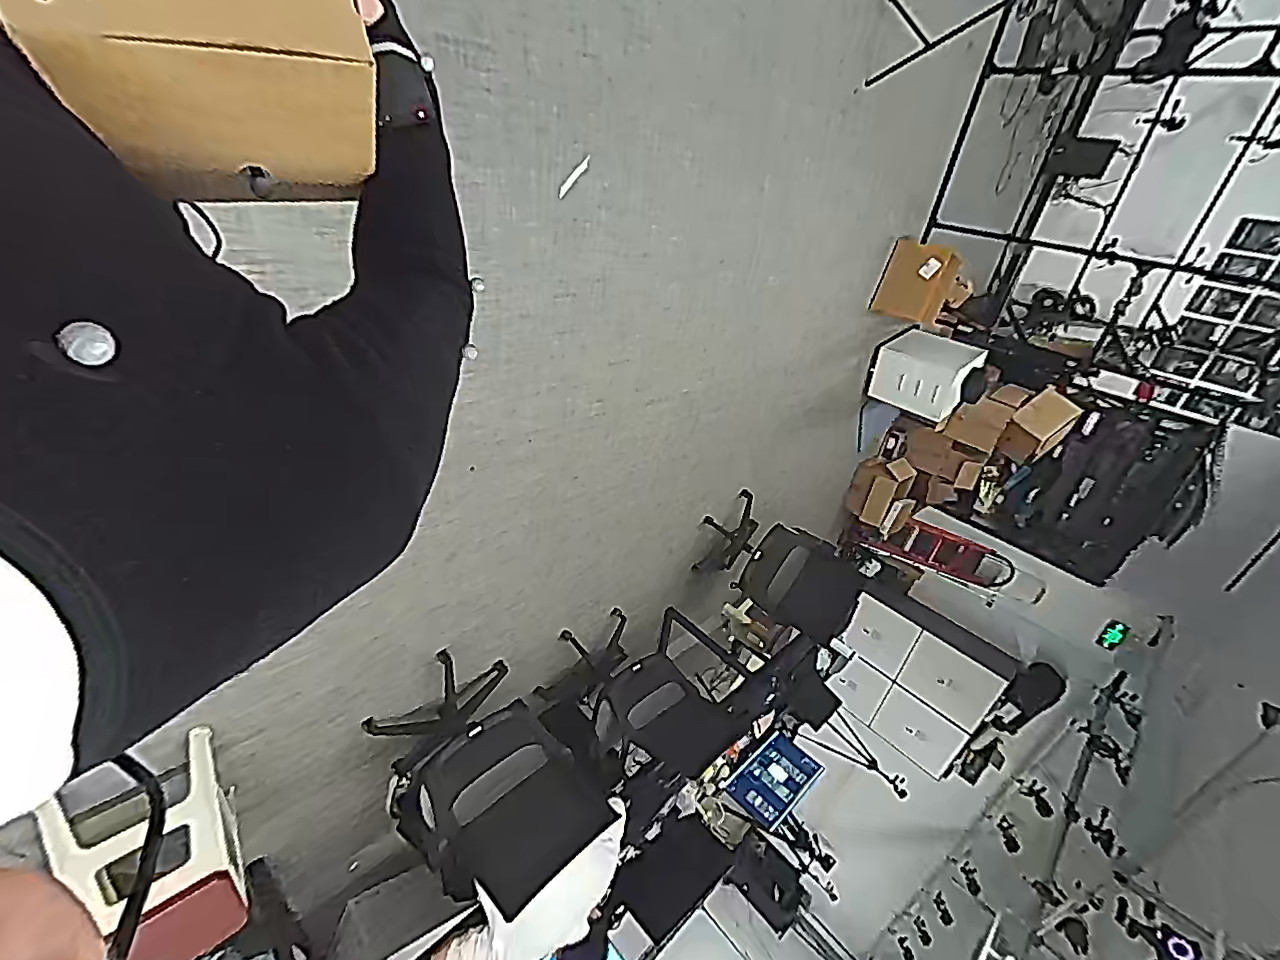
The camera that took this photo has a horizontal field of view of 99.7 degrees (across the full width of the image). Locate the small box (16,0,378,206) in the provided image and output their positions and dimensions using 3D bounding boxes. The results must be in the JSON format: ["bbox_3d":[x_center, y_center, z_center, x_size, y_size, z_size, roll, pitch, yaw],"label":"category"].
[{"bbox_3d":[-0.307,-0.323,0.395,0.179,0.176,0.168,-15,92,-27],"label":"small box"}]
